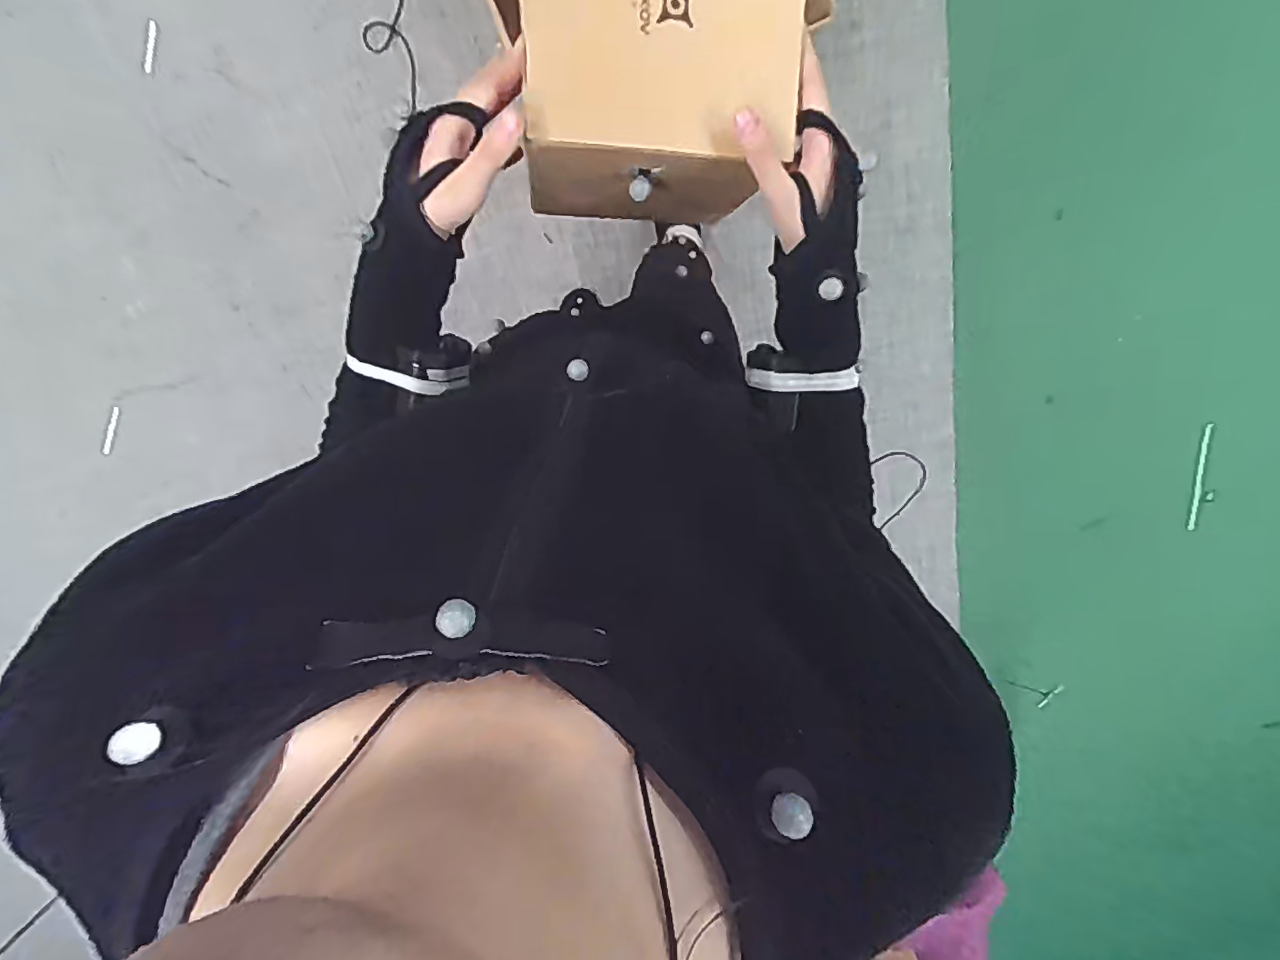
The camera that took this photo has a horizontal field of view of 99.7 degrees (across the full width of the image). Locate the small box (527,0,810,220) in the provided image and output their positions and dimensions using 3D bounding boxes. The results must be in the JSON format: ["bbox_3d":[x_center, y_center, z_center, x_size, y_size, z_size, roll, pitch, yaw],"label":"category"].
[{"bbox_3d":[0.008,-0.304,0.401,0.179,0.176,0.168,0,101,-8],"label":"small box"}]

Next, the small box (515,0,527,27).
[{"bbox_3d":[-0.137,-0.868,0.866,0.179,0.176,0.168,-18,115,0],"label":"small box"}]
